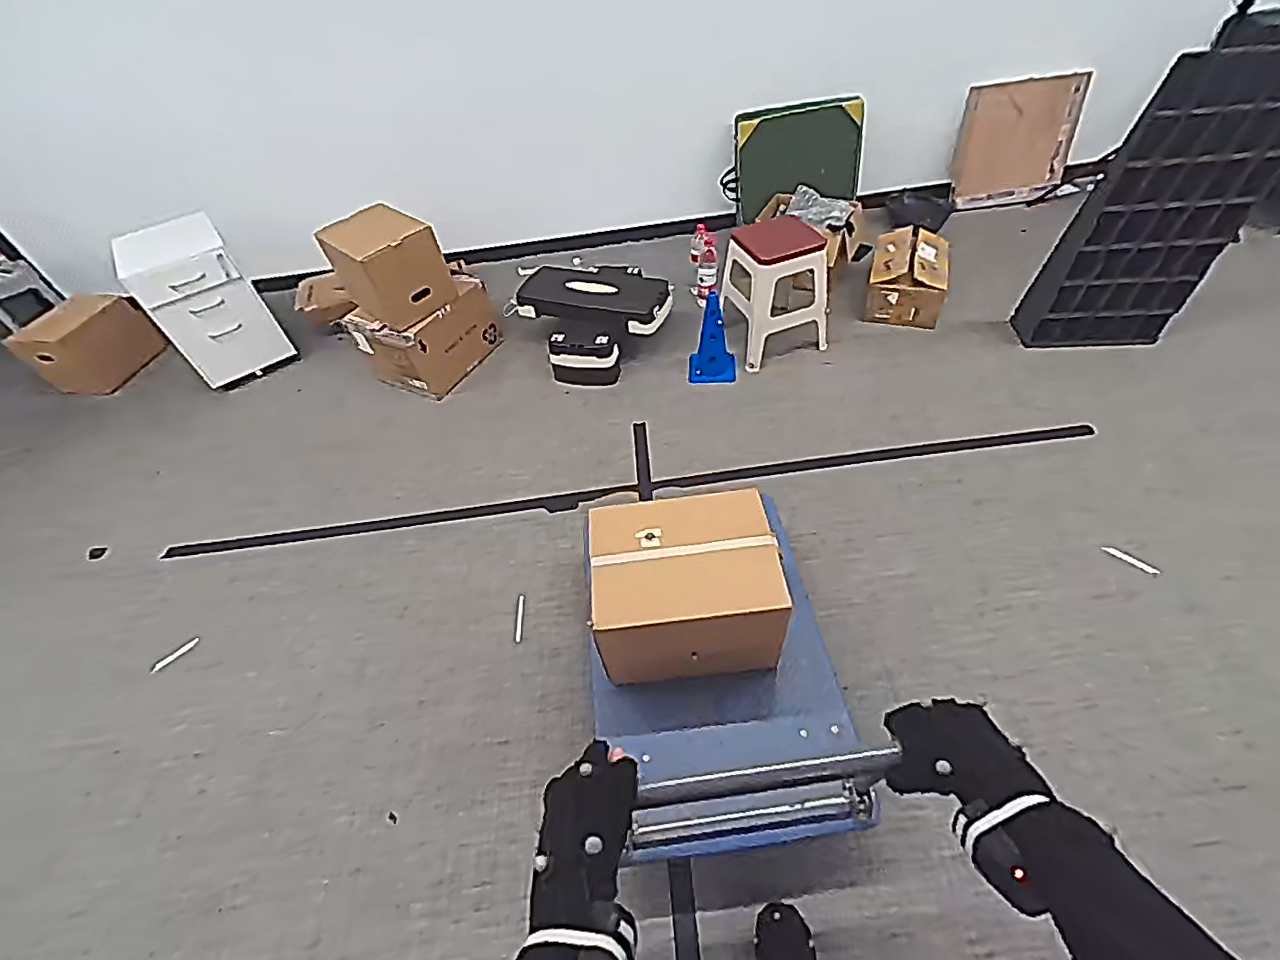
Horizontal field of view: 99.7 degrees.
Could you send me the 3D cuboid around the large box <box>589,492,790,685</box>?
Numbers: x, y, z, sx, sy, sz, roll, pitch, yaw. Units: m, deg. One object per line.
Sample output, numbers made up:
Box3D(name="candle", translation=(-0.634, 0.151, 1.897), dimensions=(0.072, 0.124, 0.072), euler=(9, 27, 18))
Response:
Box3D(name="large box", translation=(0.108, 0.265, 1.291), dimensions=(0.408, 0.320, 0.320), euler=(-8, 49, 2))
